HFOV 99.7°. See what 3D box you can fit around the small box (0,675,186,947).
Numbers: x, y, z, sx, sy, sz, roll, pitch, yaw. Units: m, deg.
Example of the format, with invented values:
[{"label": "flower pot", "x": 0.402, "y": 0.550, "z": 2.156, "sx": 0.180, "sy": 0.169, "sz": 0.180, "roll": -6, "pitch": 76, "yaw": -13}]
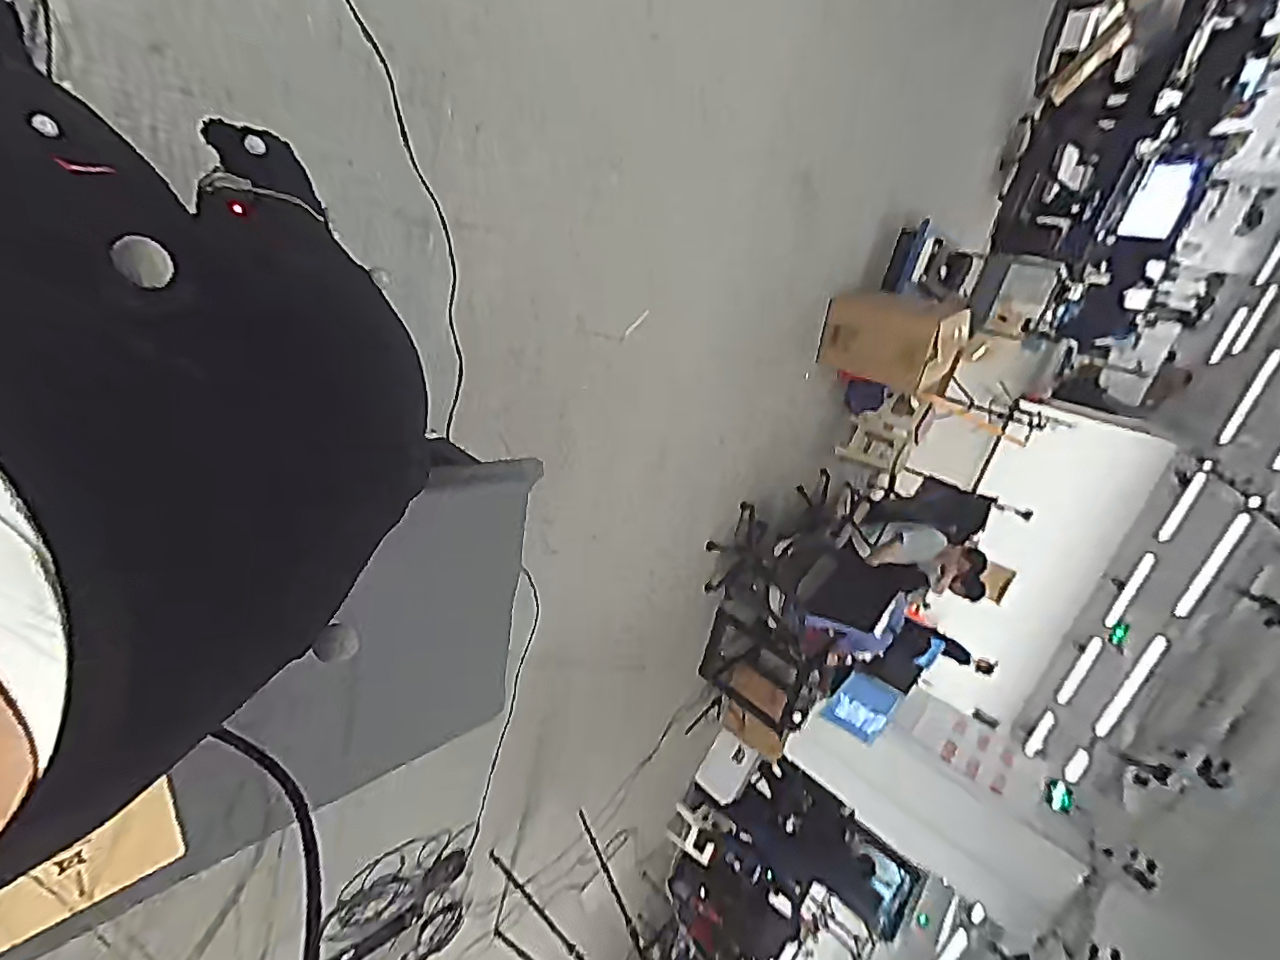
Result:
[{"label": "small box", "x": -0.642, "y": 0.347, "z": 0.601, "sx": 0.168, "sy": 0.176, "sz": 0.179, "roll": -16, "pitch": 126, "yaw": -45}]
